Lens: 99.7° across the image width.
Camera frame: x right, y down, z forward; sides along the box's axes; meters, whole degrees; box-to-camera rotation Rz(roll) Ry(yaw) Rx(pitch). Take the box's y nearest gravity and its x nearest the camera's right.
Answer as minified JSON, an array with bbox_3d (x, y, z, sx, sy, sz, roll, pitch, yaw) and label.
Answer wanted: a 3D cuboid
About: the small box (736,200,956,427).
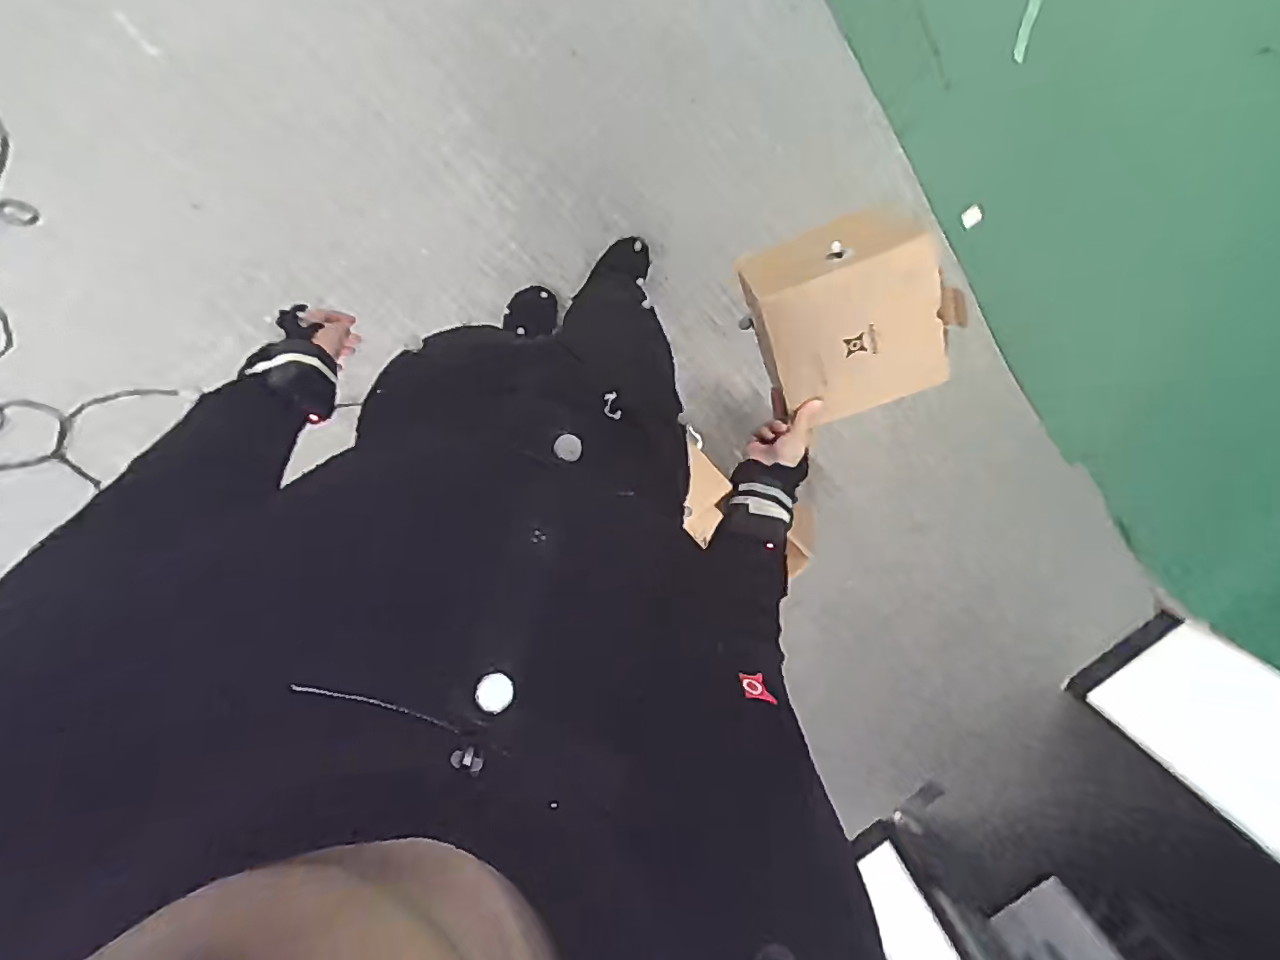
[{"bbox_3d":[0.226,-0.195,0.618,0.179,0.176,0.168,-20,123,13],"label":"small box"}]
